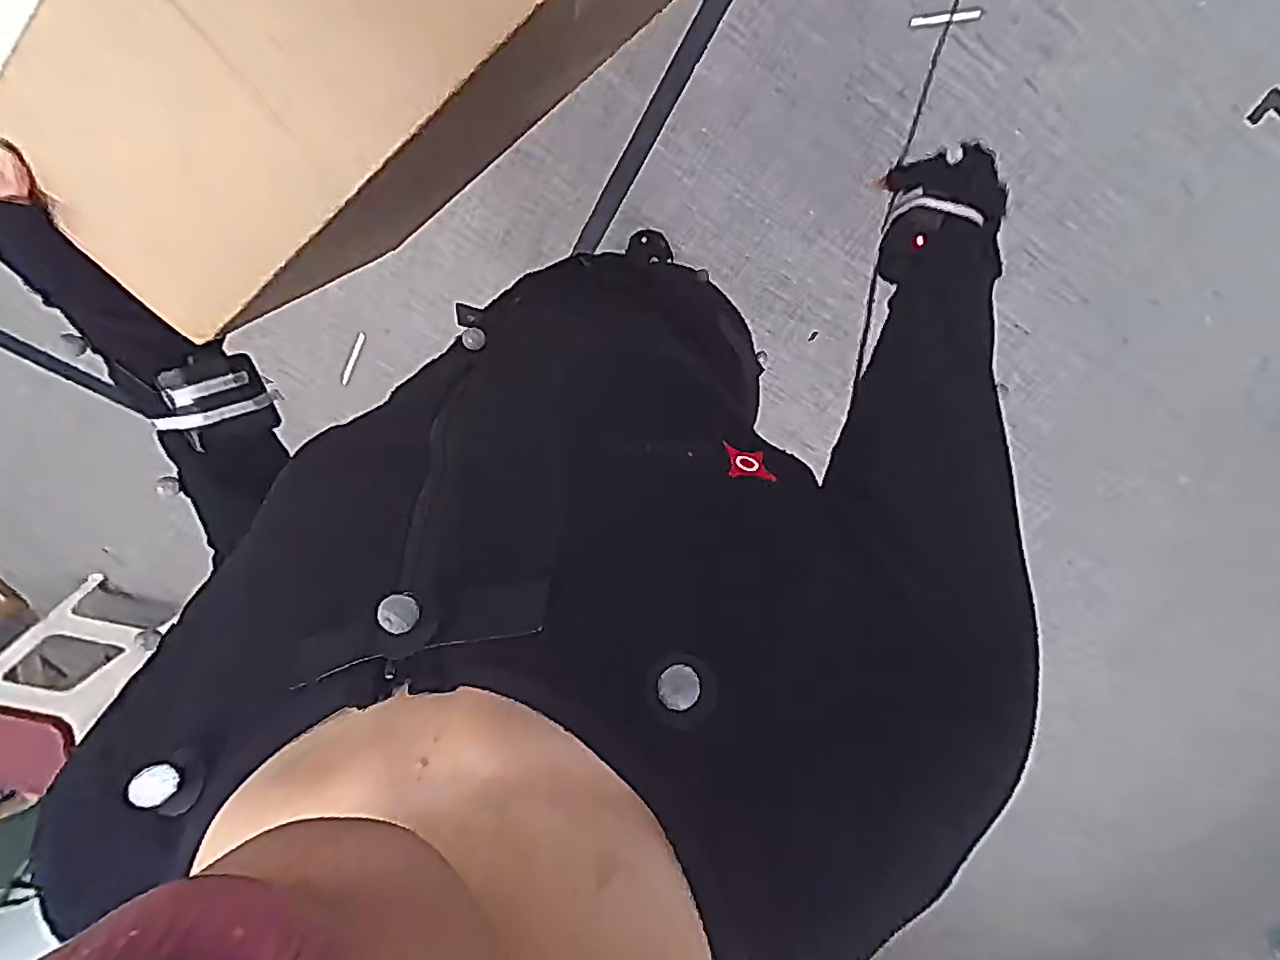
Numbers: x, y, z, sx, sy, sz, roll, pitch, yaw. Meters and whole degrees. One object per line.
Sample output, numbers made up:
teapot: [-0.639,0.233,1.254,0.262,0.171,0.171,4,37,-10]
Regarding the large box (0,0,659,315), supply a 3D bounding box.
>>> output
large box: [-0.212,-0.389,0.370,0.408,0.320,0.320,-29,117,20]
